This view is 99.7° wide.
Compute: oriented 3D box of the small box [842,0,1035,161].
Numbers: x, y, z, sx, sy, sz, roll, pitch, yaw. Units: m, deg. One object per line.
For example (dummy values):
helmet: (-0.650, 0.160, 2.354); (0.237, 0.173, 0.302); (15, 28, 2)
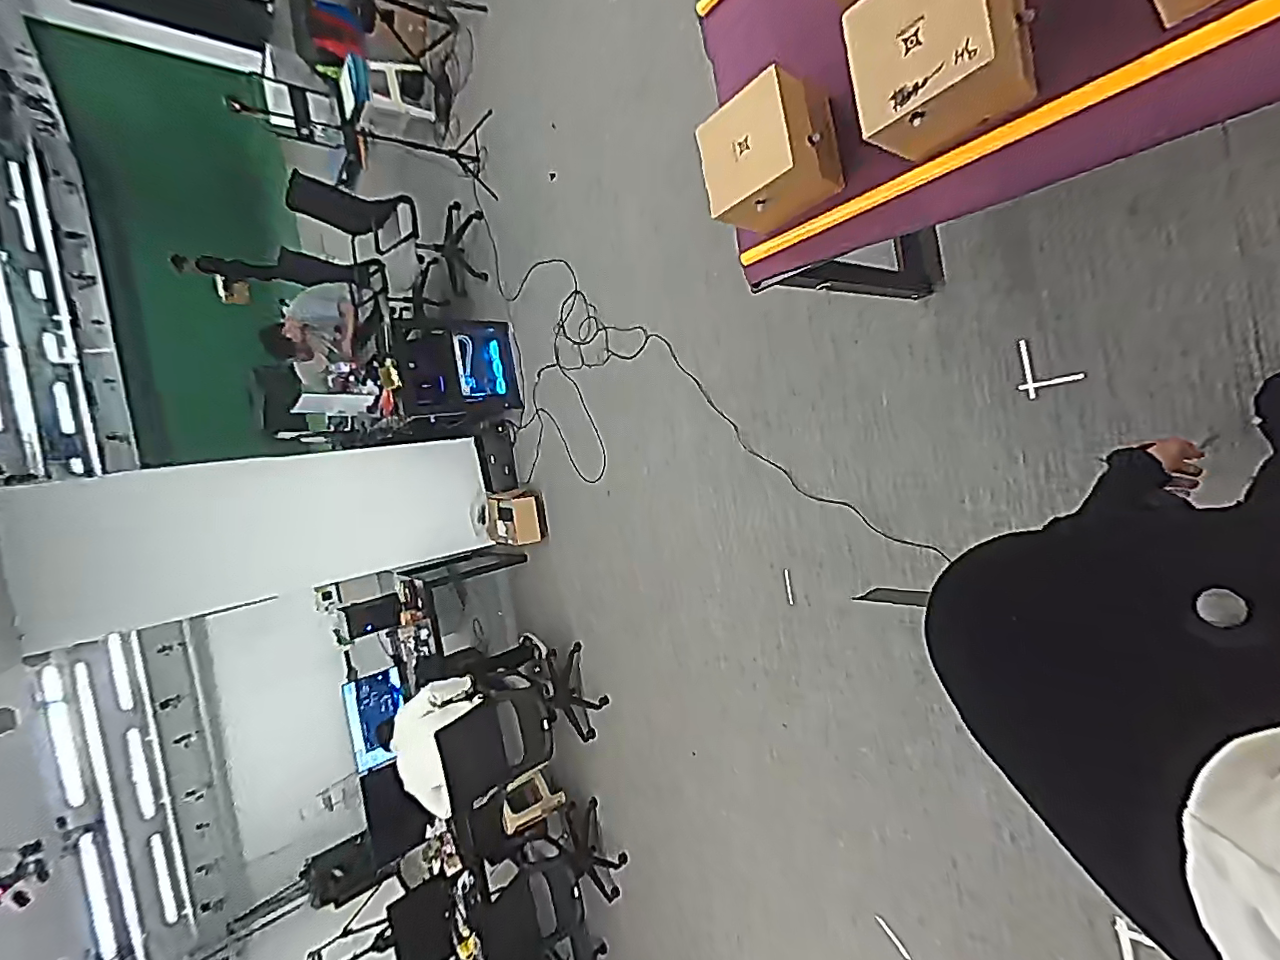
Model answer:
small box: (0.403, -0.572, 0.731); (0.168, 0.176, 0.179); (-7, 93, 53)

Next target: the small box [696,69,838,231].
small box: (0.229, -0.564, 0.952); (0.179, 0.176, 0.168); (-10, 91, 51)
